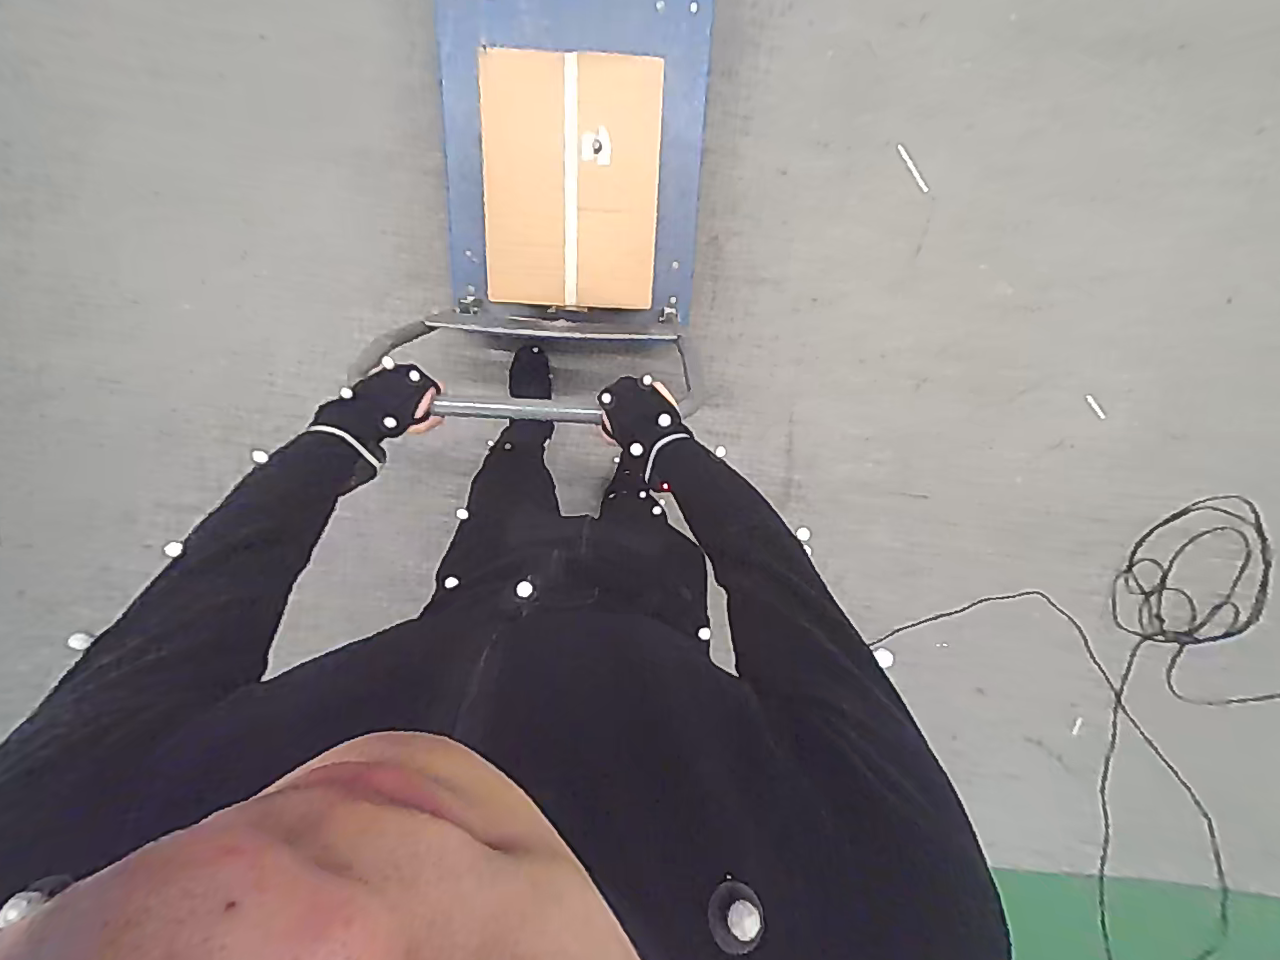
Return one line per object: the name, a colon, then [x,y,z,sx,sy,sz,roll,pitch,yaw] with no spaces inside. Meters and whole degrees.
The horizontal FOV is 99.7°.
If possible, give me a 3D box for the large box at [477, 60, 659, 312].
large box: [-0.128,-0.563,1.115,0.320,0.320,0.408,2,109,-2]
